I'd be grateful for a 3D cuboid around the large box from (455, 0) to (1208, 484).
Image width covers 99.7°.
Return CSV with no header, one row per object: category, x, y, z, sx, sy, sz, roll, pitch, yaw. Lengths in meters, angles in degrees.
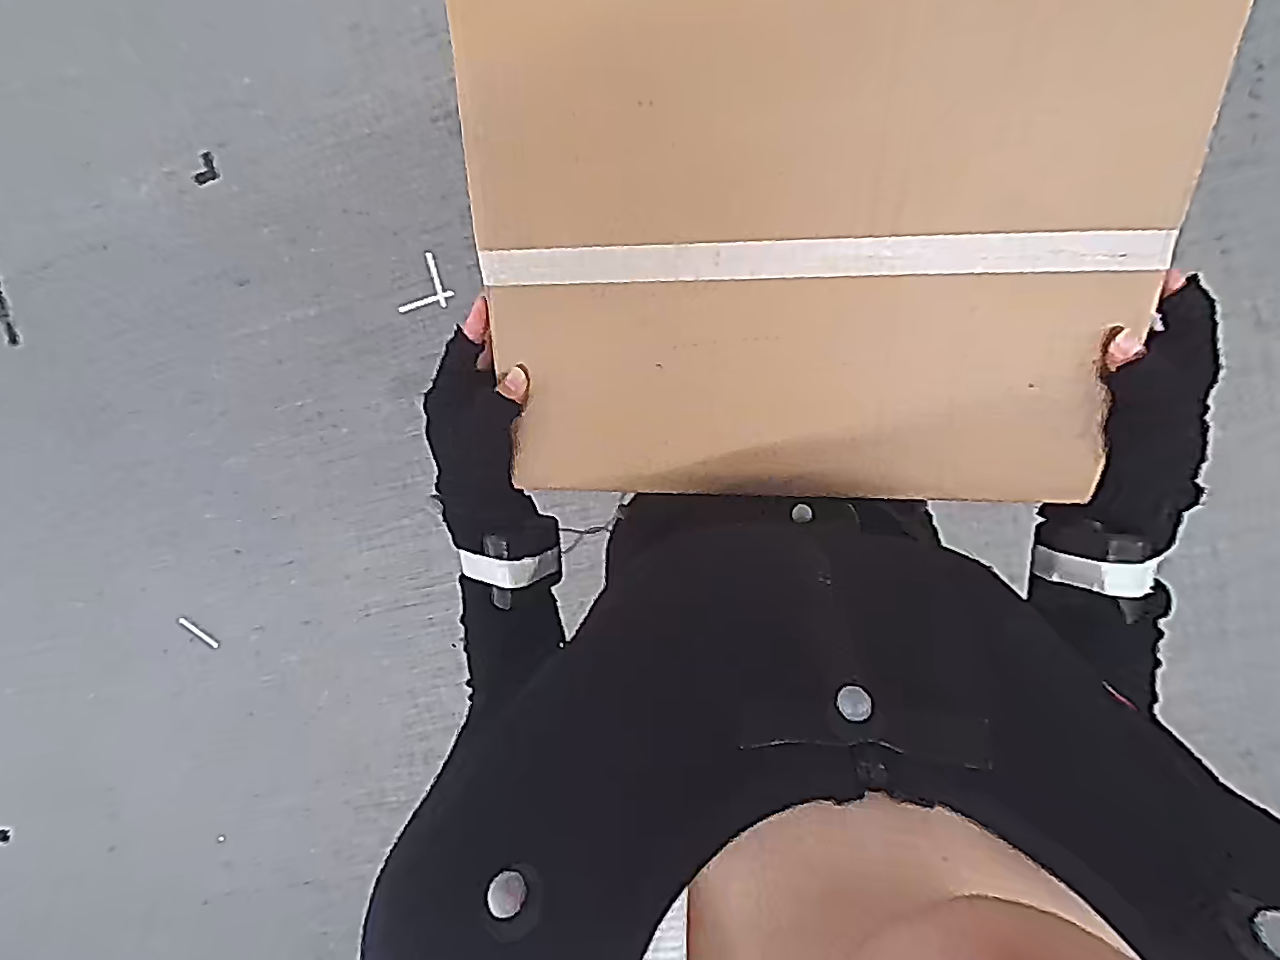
large box,0.110,-0.195,0.477,0.408,0.320,0.320,1,114,6
